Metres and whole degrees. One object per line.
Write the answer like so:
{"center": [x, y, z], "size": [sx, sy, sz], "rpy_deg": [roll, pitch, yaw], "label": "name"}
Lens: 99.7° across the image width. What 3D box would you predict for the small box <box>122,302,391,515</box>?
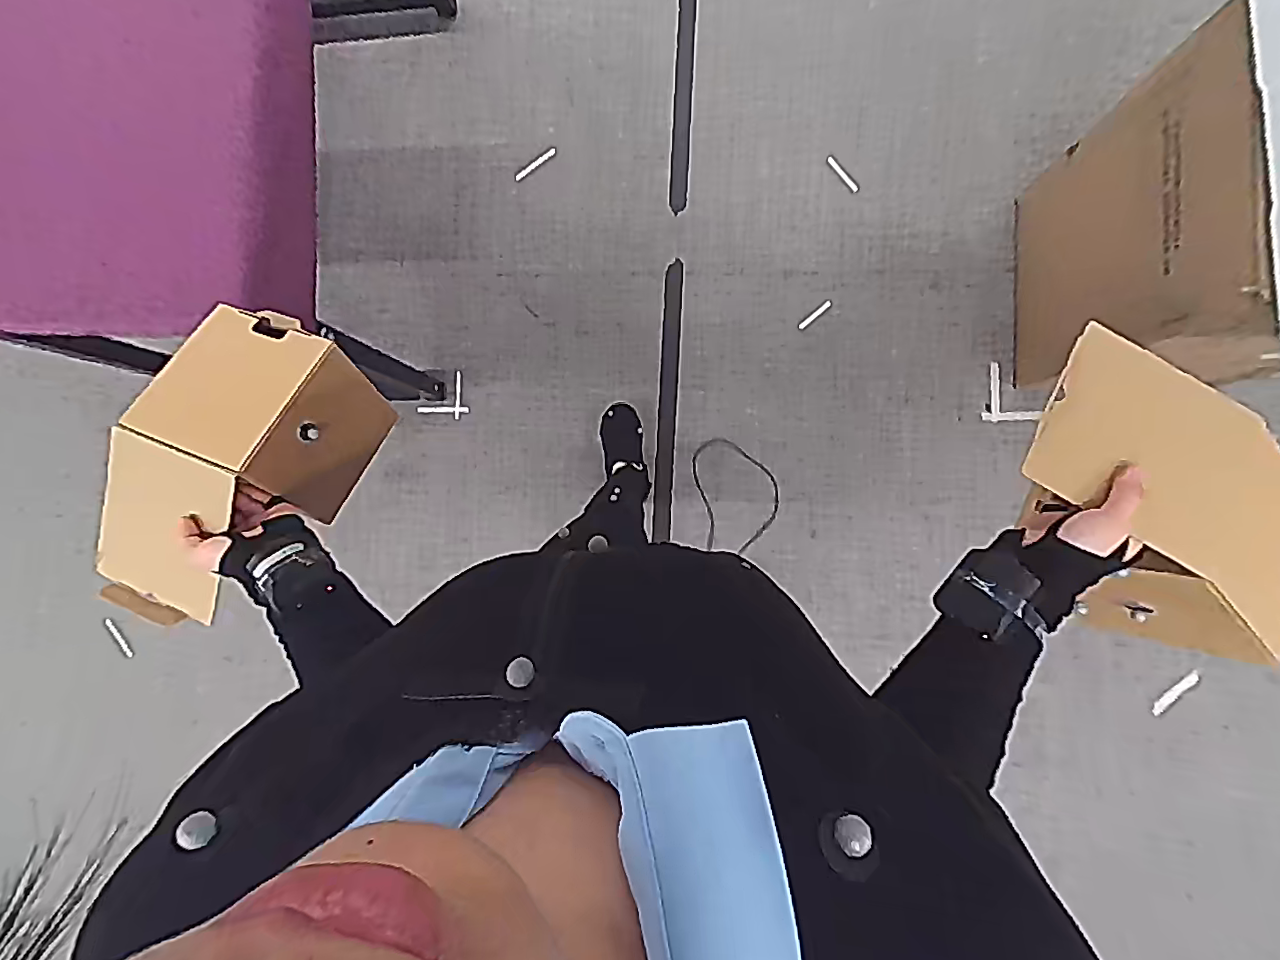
{"center": [-0.445, -0.078, 0.664], "size": [0.168, 0.176, 0.179], "rpy_deg": [19, 68, 10], "label": "small box"}
